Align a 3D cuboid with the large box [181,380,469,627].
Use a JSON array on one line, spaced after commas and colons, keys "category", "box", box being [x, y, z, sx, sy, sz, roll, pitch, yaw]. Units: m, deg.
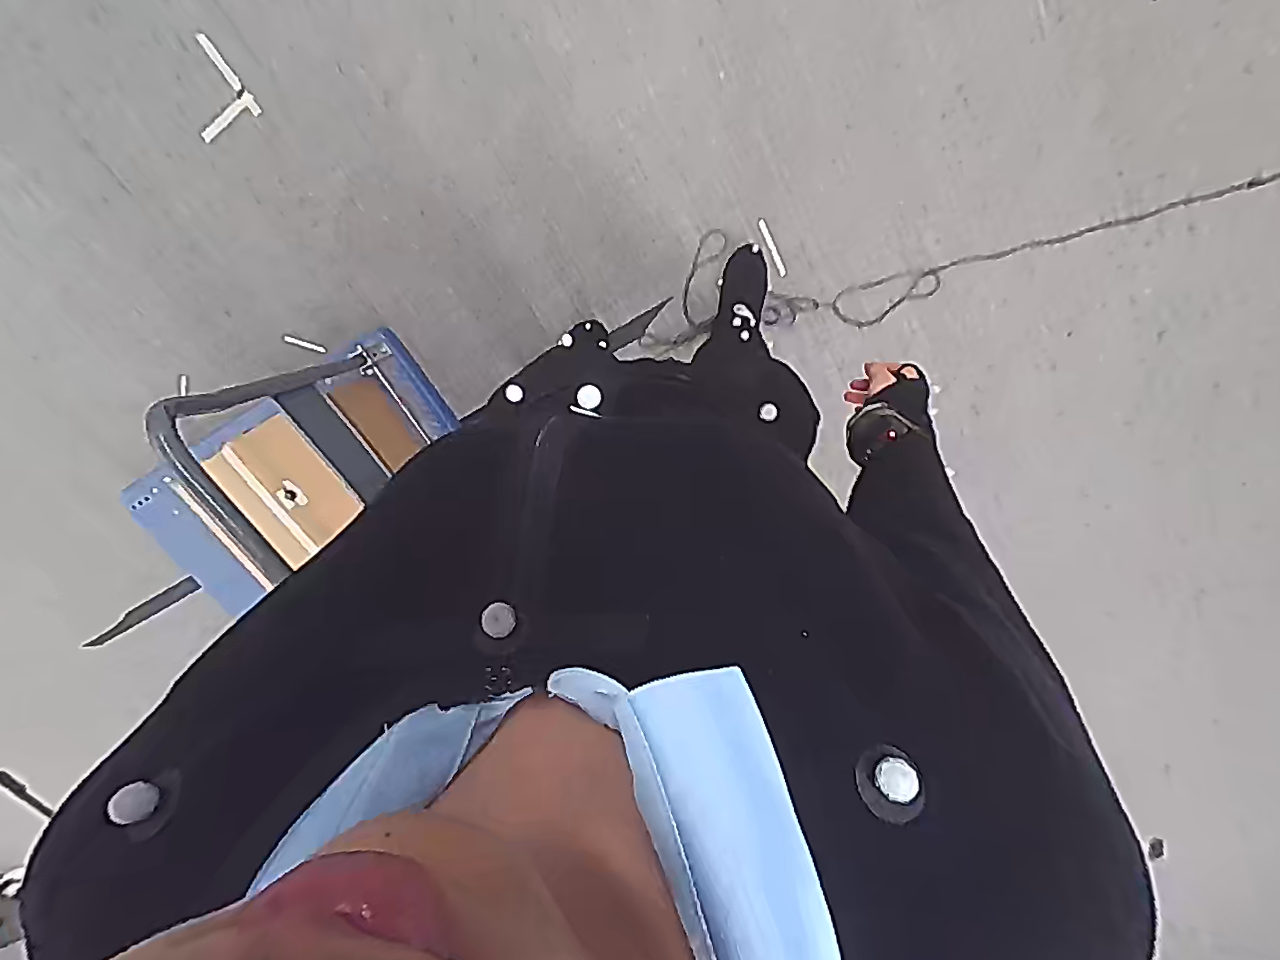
[{"category": "large box", "box": [-0.666, 0.041, 1.223, 0.320, 0.320, 0.408, -27, 107, 11]}]
